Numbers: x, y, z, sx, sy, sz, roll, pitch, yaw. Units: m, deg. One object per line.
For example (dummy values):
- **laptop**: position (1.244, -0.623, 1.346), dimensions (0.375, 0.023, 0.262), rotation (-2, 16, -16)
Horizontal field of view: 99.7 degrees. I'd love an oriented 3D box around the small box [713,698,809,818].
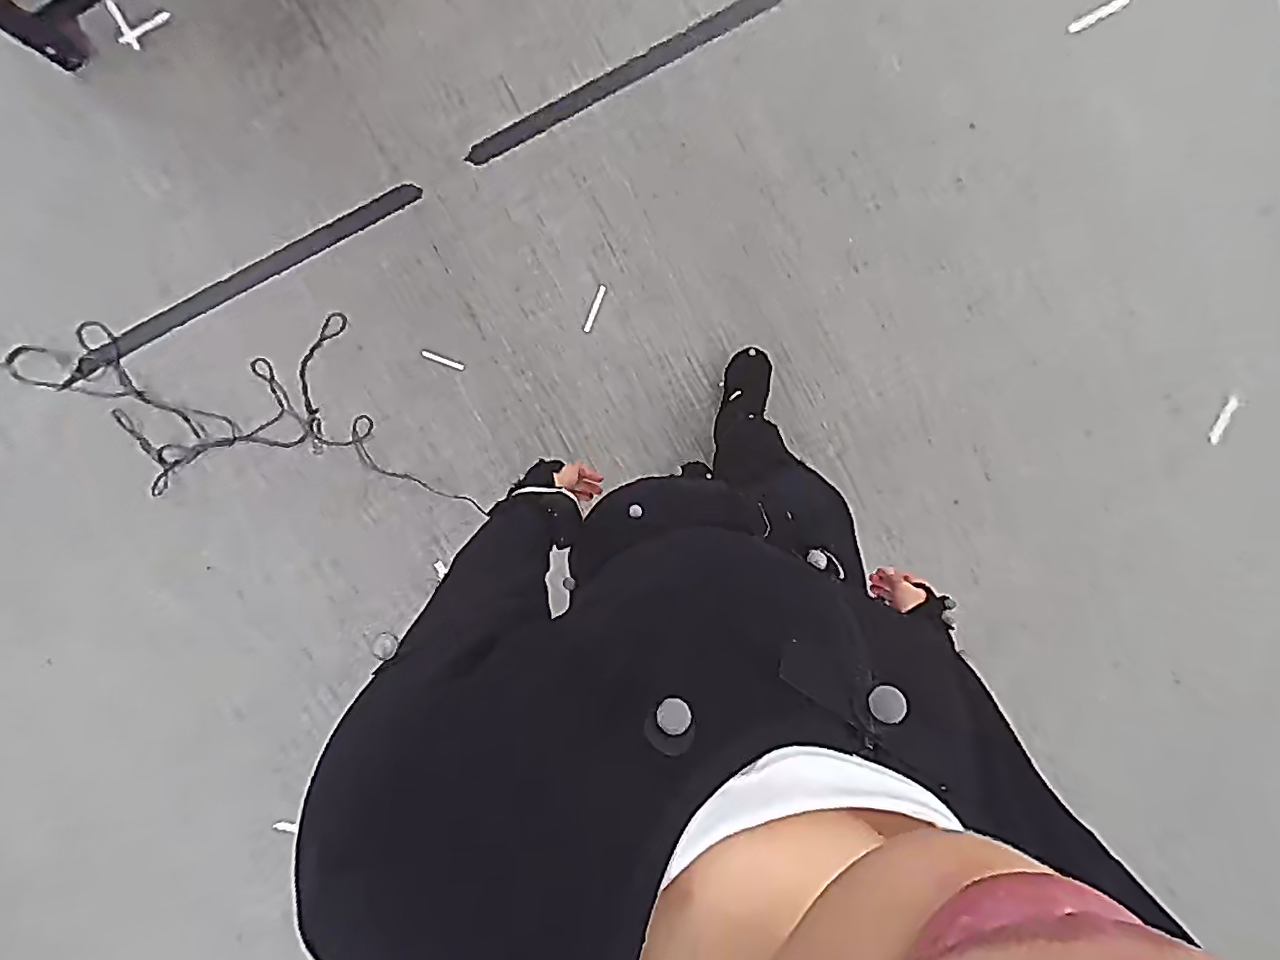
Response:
- **small box**: position (0.302, 0.697, 1.358), dimensions (0.168, 0.176, 0.179), rotation (-30, 95, 2)
